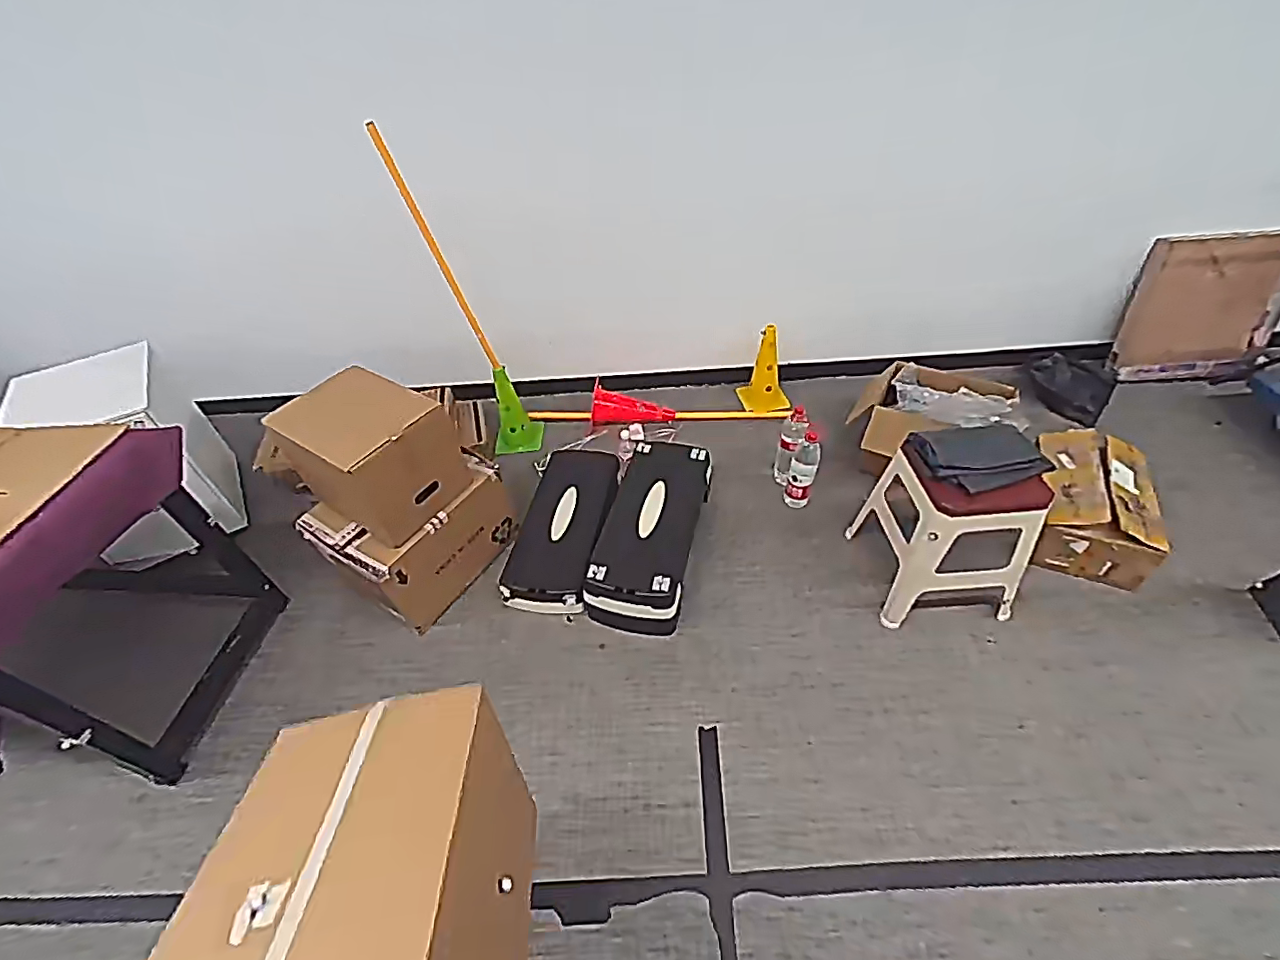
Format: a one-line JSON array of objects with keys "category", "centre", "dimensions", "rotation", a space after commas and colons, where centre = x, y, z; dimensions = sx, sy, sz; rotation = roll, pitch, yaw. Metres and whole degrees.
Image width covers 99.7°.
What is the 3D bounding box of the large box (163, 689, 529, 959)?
[{"category": "large box", "centre": [-0.347, 0.571, 0.730], "dimensions": [0.320, 0.320, 0.408], "rotation": [-13, 28, 0]}]
